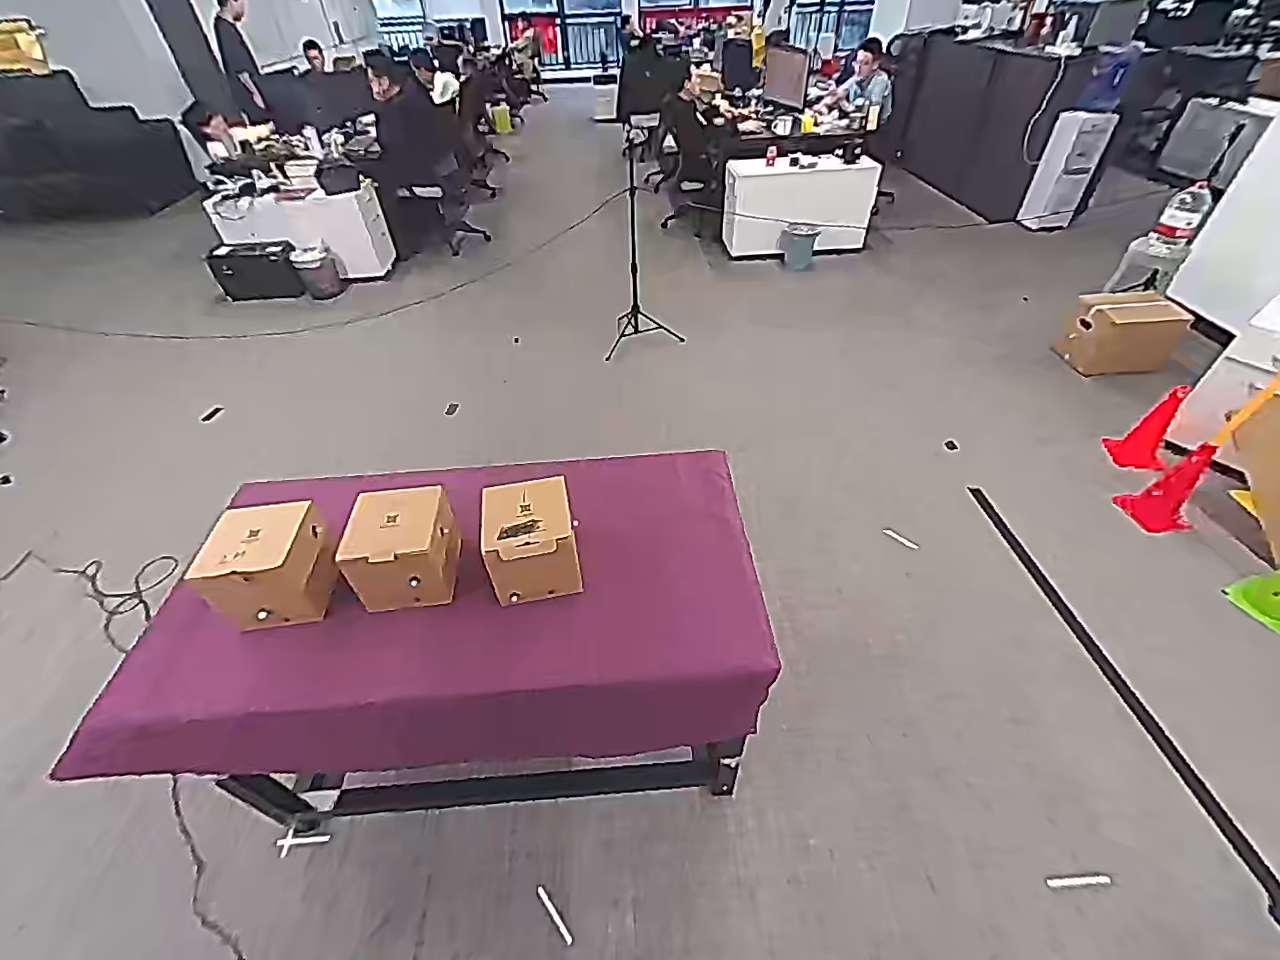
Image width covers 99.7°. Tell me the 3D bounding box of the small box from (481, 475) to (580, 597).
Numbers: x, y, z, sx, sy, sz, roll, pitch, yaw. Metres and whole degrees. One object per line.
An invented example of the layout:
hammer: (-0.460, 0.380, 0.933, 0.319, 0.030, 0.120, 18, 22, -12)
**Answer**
small box: (-0.217, 0.119, 1.088, 0.168, 0.176, 0.179, -9, 43, -7)

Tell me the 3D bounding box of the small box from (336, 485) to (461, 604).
small box: (-0.470, 0.134, 1.086, 0.168, 0.176, 0.179, -5, 43, -3)

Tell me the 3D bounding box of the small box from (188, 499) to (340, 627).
small box: (-0.718, 0.163, 1.064, 0.168, 0.176, 0.179, -7, 43, -4)
